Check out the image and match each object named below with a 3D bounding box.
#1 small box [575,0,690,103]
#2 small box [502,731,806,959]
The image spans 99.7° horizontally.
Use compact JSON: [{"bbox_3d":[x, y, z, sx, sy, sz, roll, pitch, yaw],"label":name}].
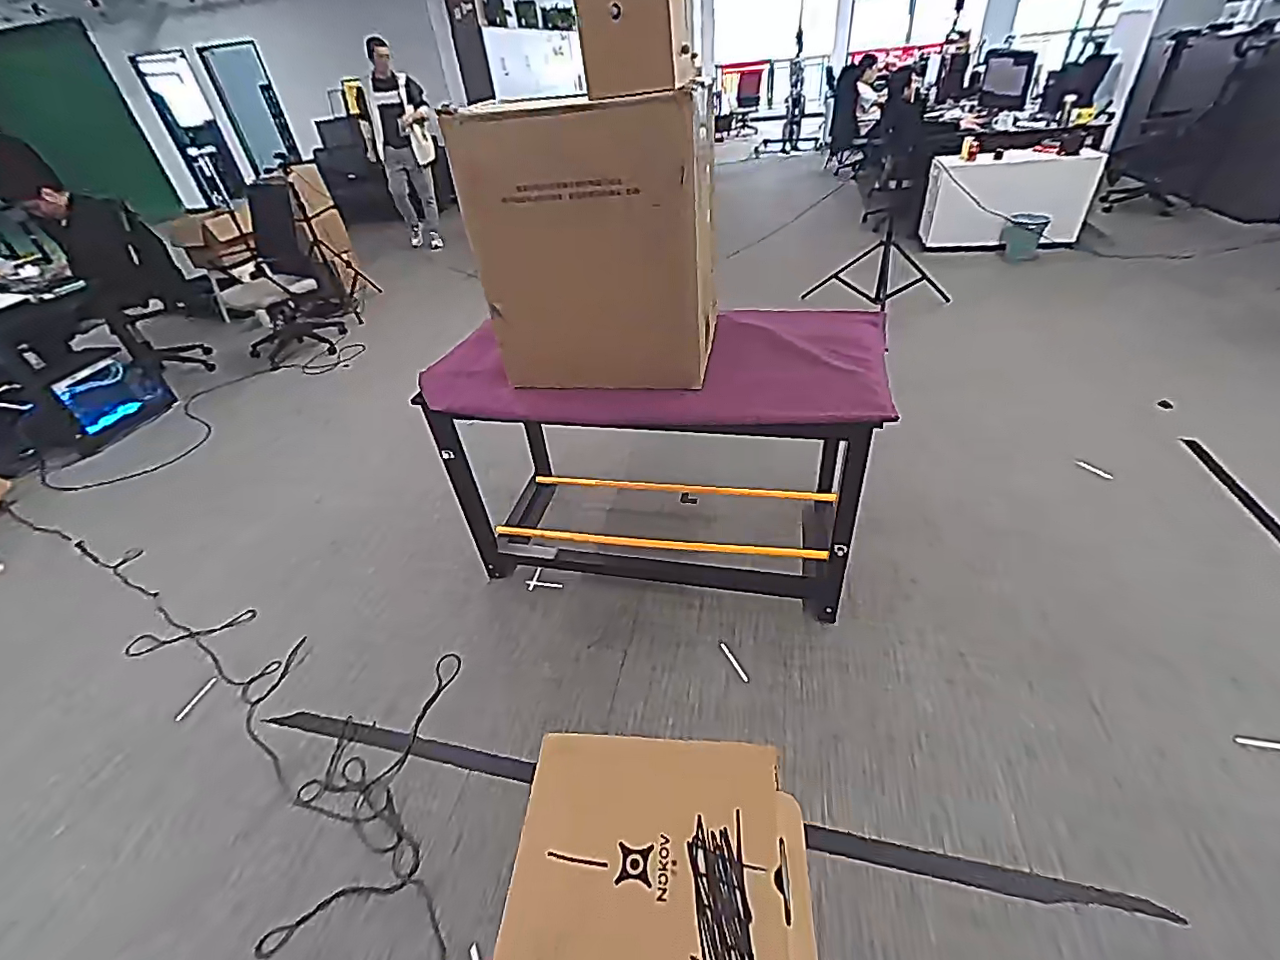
[{"bbox_3d":[-0.007,-0.837,1.034,0.179,0.176,0.168,3,40,14],"label":"small box"},{"bbox_3d":[0.015,0.307,0.393,0.179,0.176,0.168,0,40,7],"label":"small box"}]
